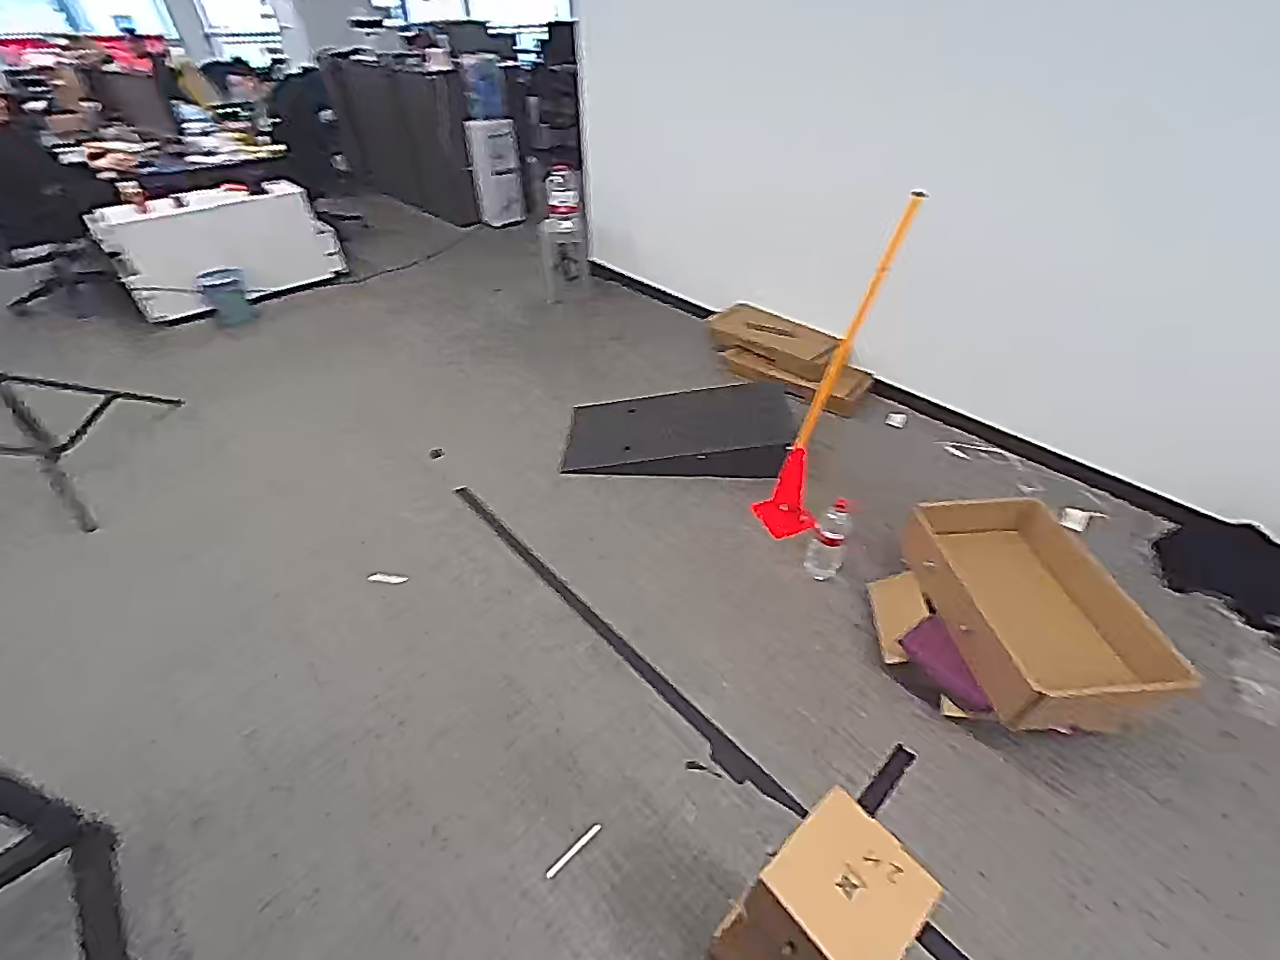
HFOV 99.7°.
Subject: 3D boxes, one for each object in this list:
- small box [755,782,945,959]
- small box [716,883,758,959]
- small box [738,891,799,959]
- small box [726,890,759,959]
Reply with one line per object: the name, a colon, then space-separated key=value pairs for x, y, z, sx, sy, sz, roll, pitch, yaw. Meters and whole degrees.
small box: x=0.278 y=0.576 z=0.754 sx=0.179 sy=0.176 sz=0.168 roll=-29 pitch=50 yaw=-29
small box: x=0.272 y=0.940 z=1.086 sx=0.168 sy=0.176 sz=0.179 roll=-32 pitch=49 yaw=-31
small box: x=0.274 y=0.698 z=0.864 sx=0.179 sy=0.176 sz=0.168 roll=-34 pitch=51 yaw=-31
small box: x=0.271 y=0.819 z=0.976 sx=0.179 sy=0.176 sz=0.168 roll=-33 pitch=51 yaw=-32
